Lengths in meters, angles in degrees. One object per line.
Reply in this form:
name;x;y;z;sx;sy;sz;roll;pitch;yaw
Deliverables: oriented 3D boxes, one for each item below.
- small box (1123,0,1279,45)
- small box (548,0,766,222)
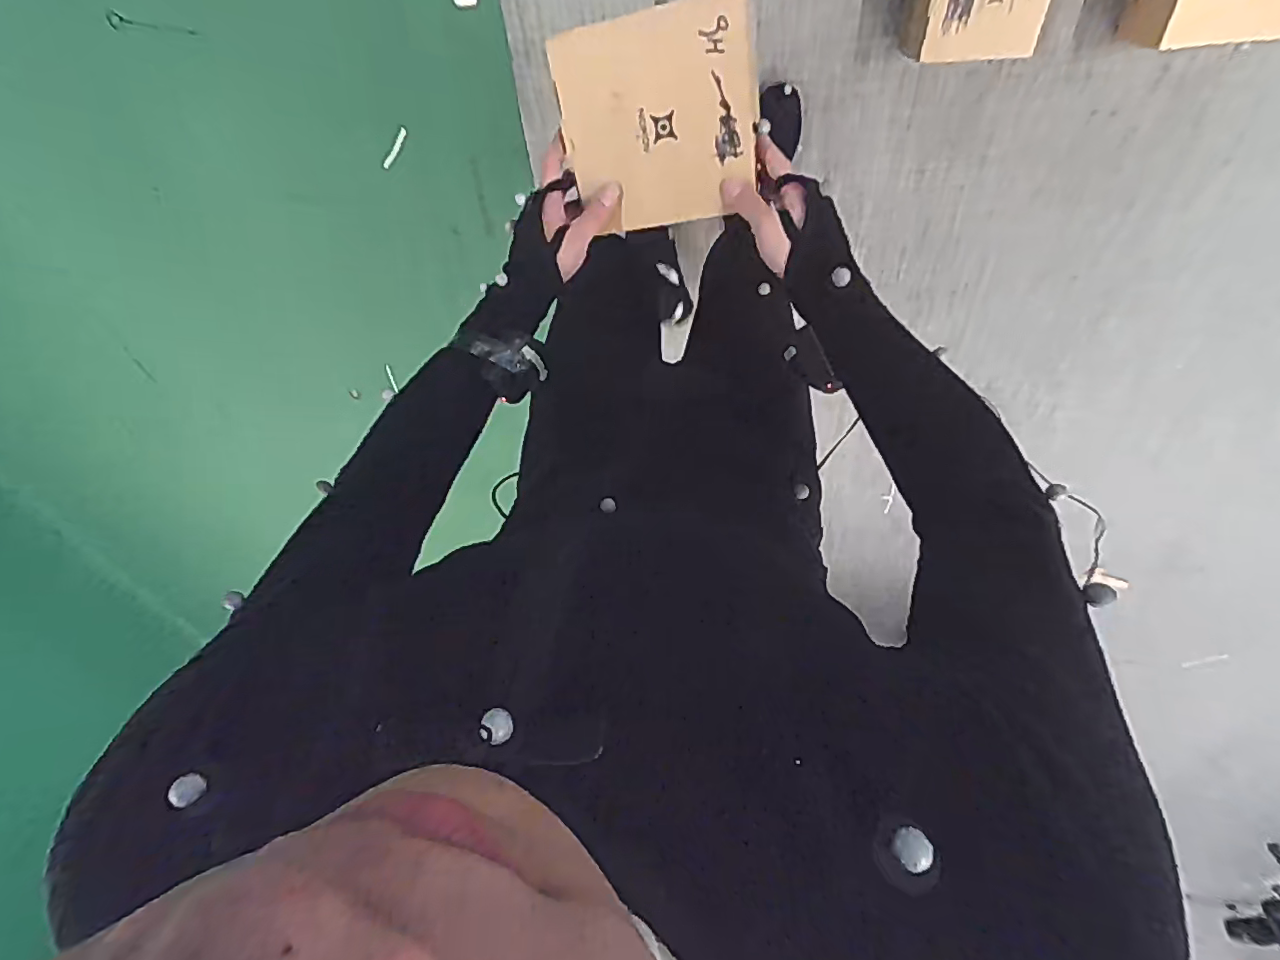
small box;0.898;-0.778;0.822;0.179;0.176;0.168;2;132;12
small box;0.033;-0.374;0.547;0.179;0.176;0.168;-1;126;15
